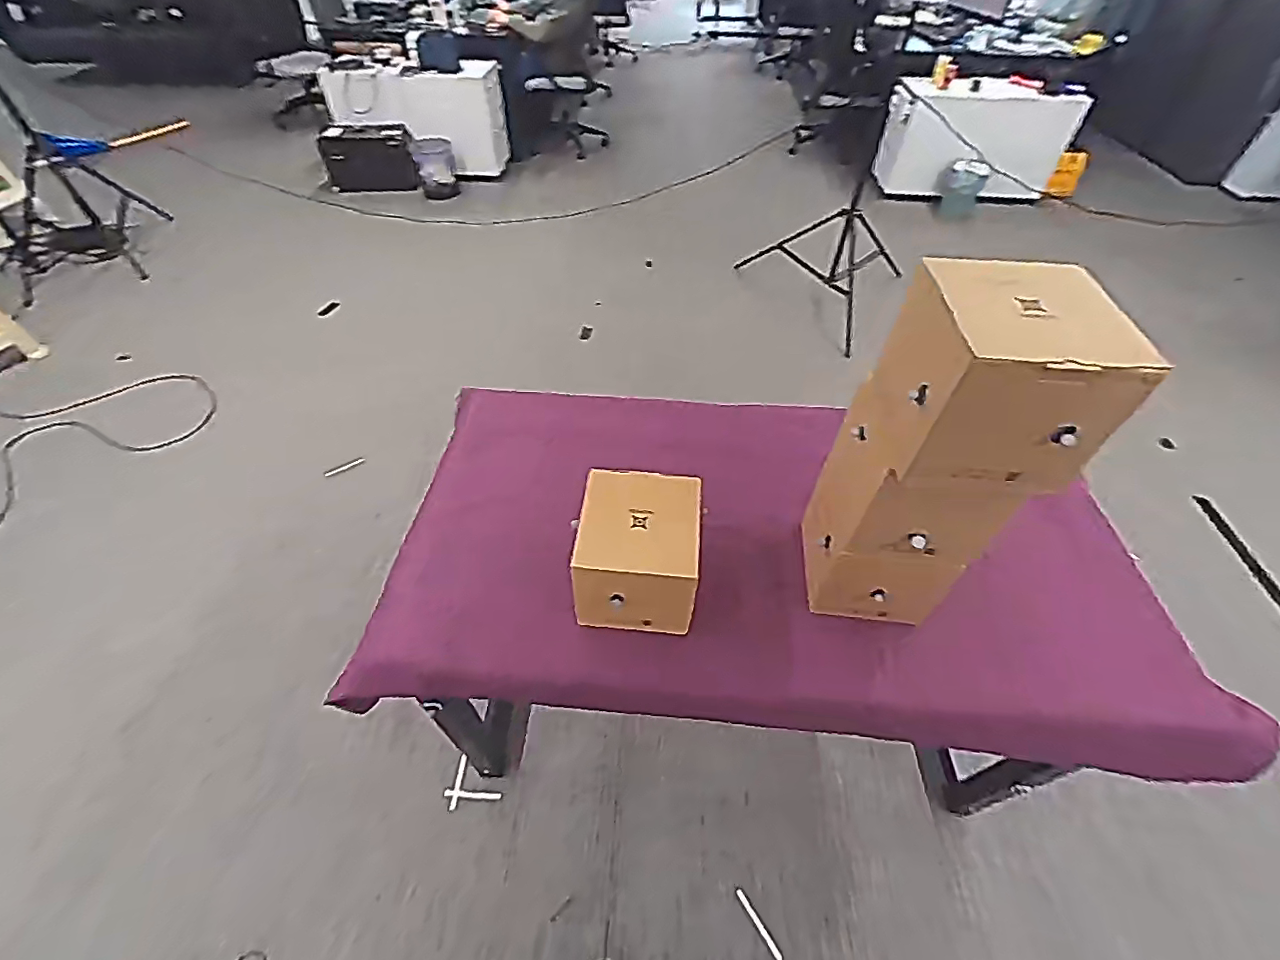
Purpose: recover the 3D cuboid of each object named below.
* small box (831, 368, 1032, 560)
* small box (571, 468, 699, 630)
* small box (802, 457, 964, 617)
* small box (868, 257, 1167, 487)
[{"bbox_3d":[0.359,-0.020,0.702,0.168,0.176,0.179,5,50,4],"label":"small box"},{"bbox_3d":[-0.002,0.106,0.803,0.168,0.176,0.179,4,48,2],"label":"small box"},{"bbox_3d":[0.353,0.090,0.824,0.168,0.176,0.179,6,49,3],"label":"small box"},{"bbox_3d":[0.362,-0.110,0.566,0.168,0.176,0.179,4,49,1],"label":"small box"}]
